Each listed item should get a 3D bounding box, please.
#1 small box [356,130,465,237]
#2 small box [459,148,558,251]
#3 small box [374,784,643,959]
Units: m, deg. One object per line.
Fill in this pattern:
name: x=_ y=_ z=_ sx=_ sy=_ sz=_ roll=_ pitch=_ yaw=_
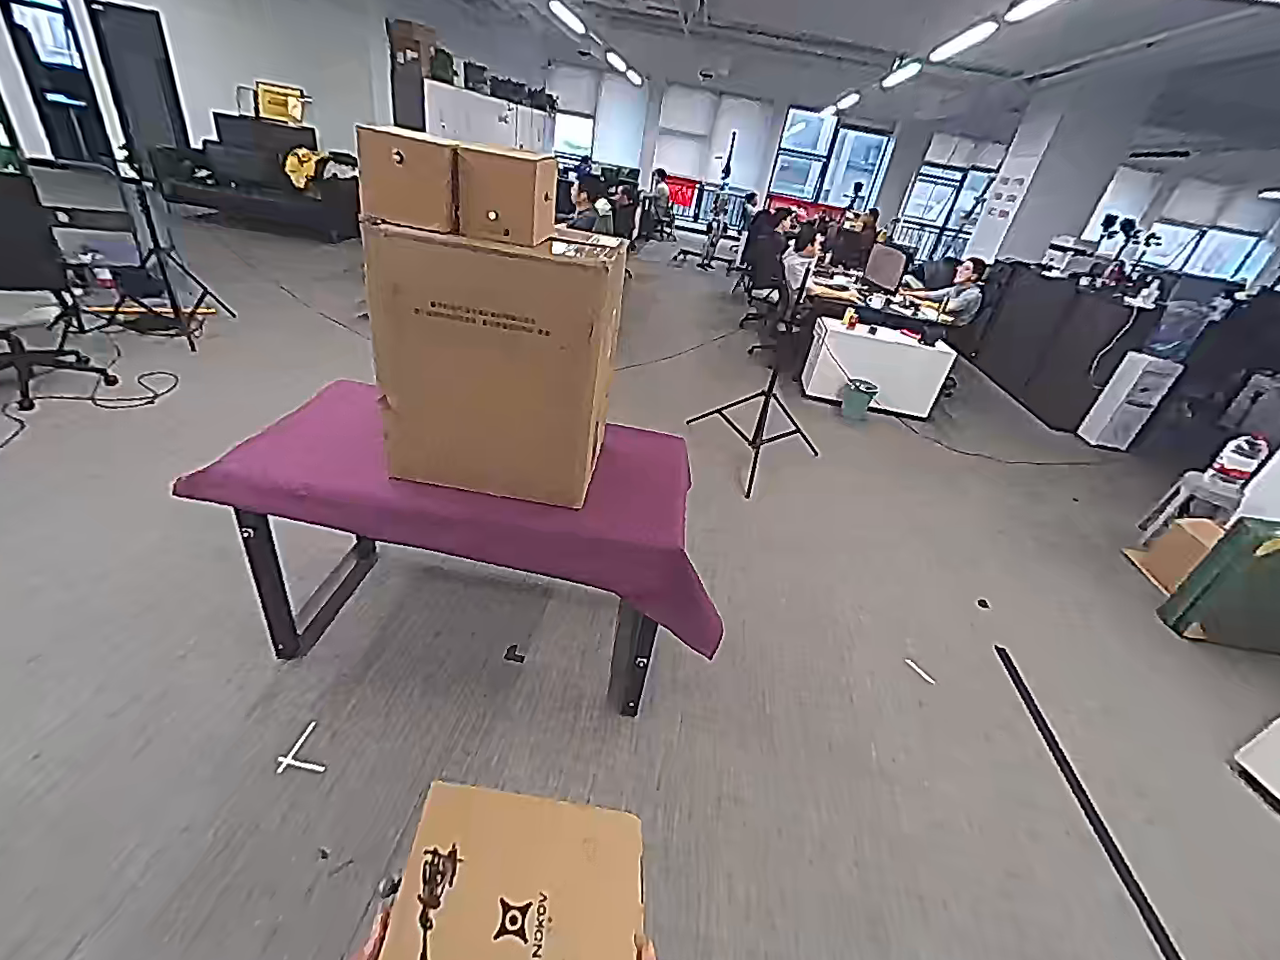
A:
small box: x=-0.475 y=-0.629 z=1.154 sx=0.179 sy=0.176 sz=0.168 roll=11 pitch=32 yaw=-4
small box: x=-0.287 y=-0.620 z=1.195 sx=0.168 sy=0.176 sz=0.179 roll=10 pitch=34 yaw=1
small box: x=-0.108 y=0.367 z=0.406 sx=0.179 sy=0.176 sz=0.168 roll=18 pitch=29 yaw=-12
